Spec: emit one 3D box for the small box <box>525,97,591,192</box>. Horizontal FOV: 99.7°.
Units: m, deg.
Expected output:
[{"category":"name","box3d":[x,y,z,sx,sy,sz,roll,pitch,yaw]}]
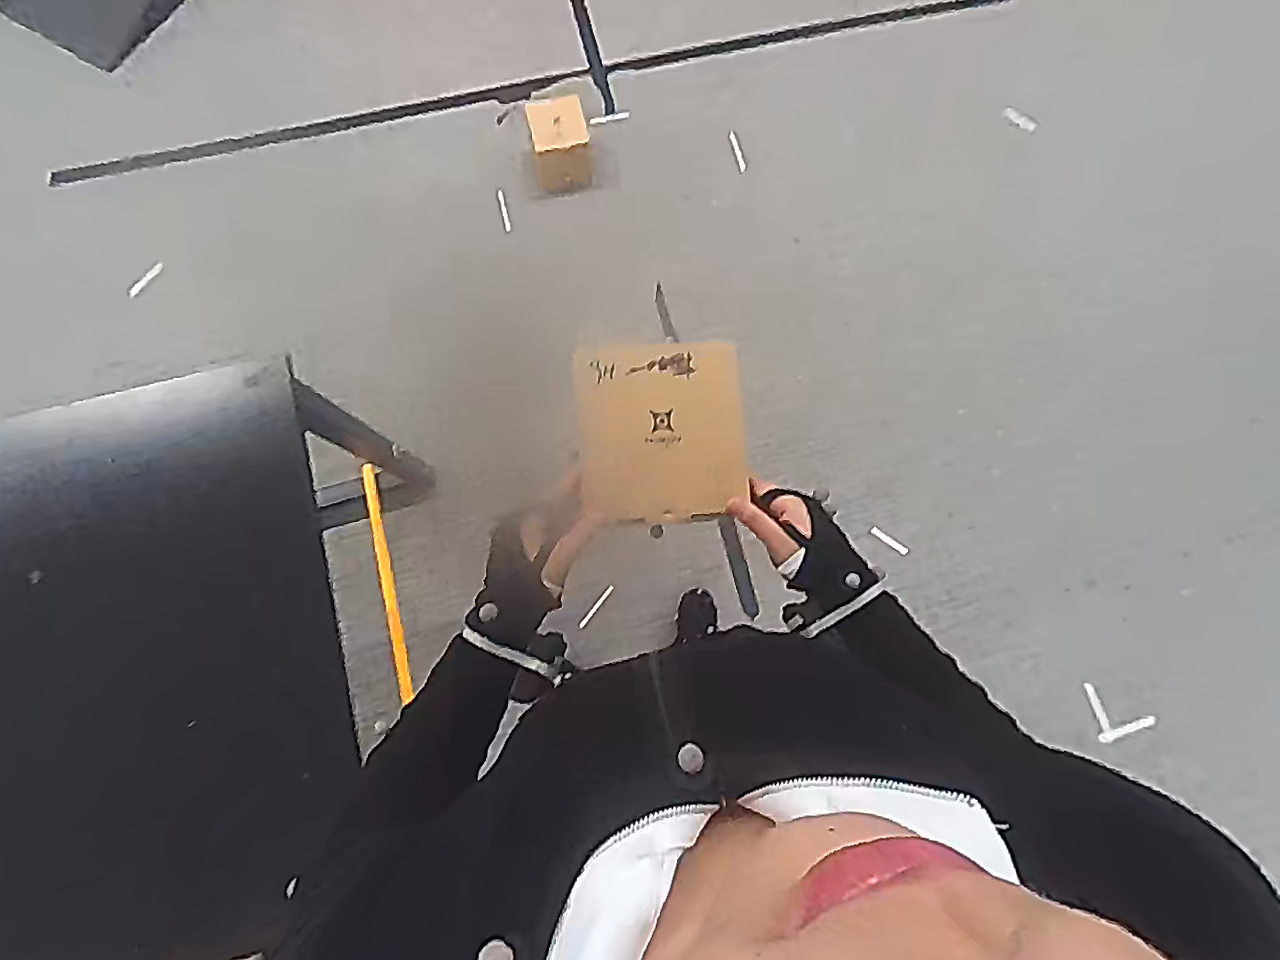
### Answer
[{"category":"small box","box3d":[-0.252,-1.041,1.686,0.168,0.176,0.179,-14,79,-5]}]
